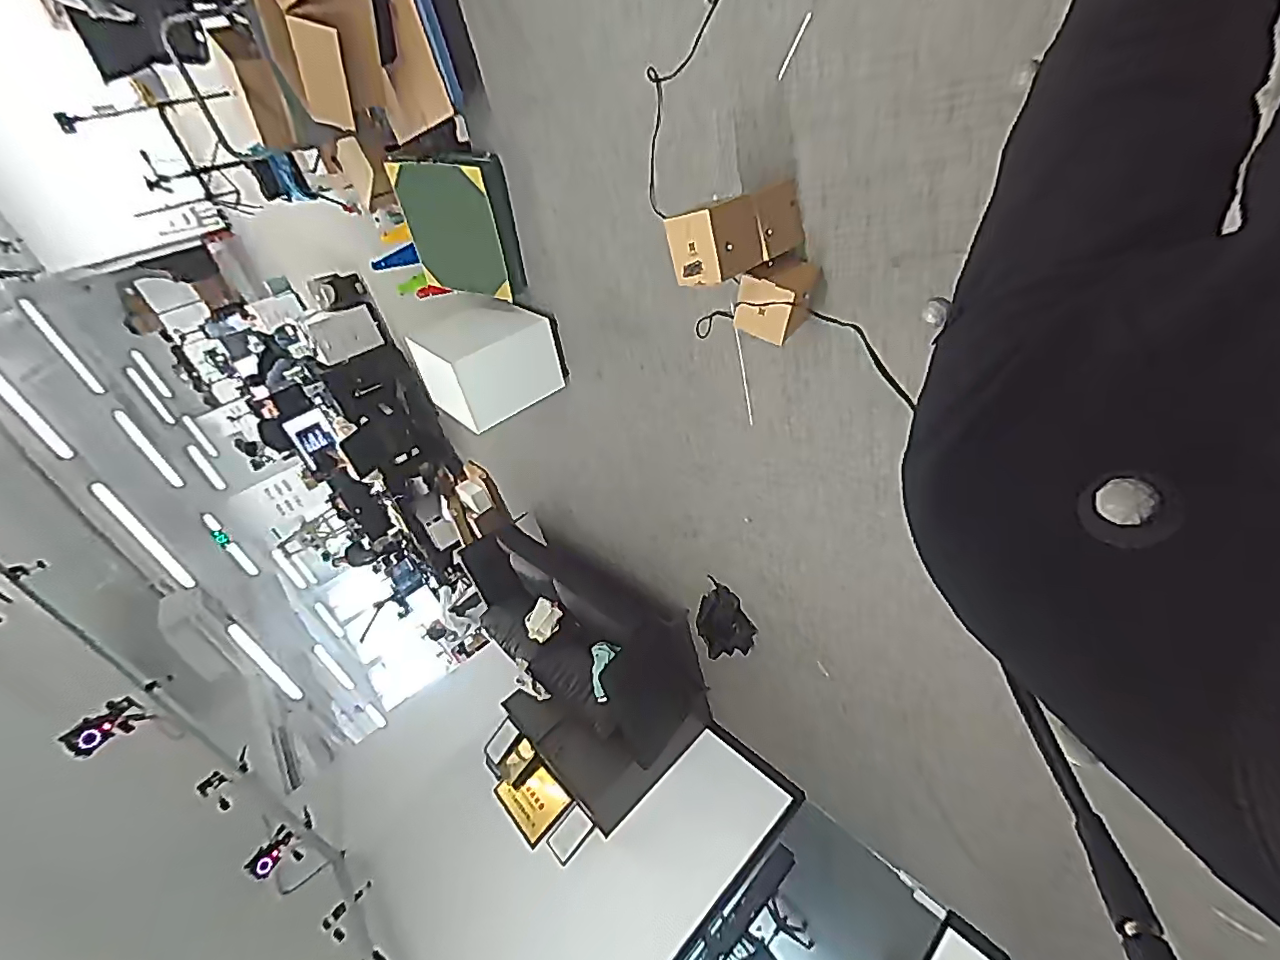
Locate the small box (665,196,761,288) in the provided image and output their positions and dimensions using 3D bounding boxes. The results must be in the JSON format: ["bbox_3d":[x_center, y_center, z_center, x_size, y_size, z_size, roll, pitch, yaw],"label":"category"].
[{"bbox_3d":[0.198,-0.624,1.424,0.168,0.176,0.179,18,134,48],"label":"small box"}]

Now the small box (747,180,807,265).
[{"bbox_3d":[0.328,-0.700,1.500,0.179,0.176,0.168,11,133,55],"label":"small box"}]
